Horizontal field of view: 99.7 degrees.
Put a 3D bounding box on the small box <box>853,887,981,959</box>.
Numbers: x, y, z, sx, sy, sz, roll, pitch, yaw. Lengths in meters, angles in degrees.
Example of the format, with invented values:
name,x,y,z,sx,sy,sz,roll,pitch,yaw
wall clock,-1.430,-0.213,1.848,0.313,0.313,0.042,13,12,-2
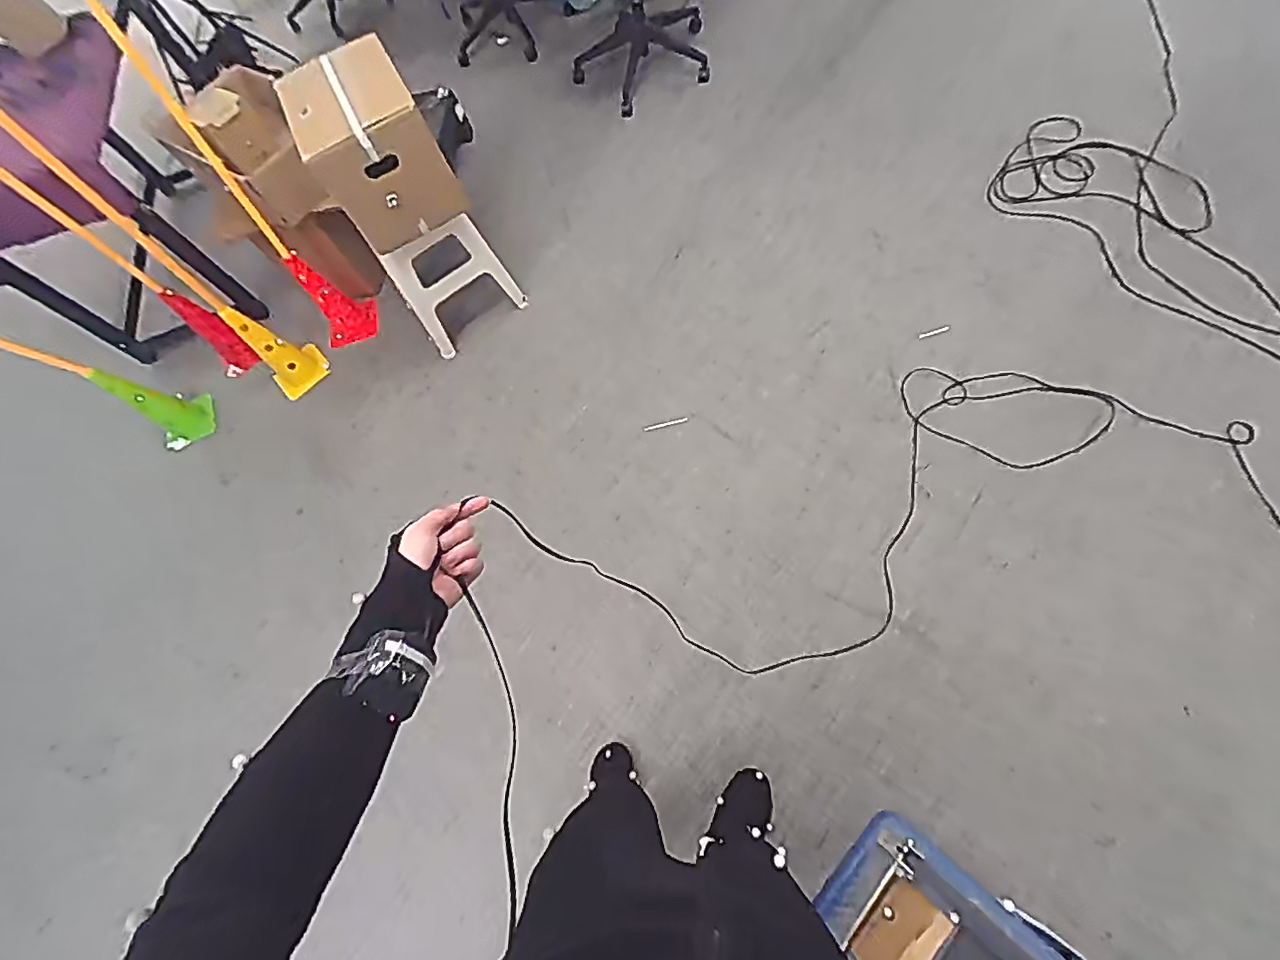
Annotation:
name,x,y,z,sx,sy,sz,roll,pitch,yaw
small box,0.489,0.838,0.903,0.168,0.176,0.179,-44,69,-8
